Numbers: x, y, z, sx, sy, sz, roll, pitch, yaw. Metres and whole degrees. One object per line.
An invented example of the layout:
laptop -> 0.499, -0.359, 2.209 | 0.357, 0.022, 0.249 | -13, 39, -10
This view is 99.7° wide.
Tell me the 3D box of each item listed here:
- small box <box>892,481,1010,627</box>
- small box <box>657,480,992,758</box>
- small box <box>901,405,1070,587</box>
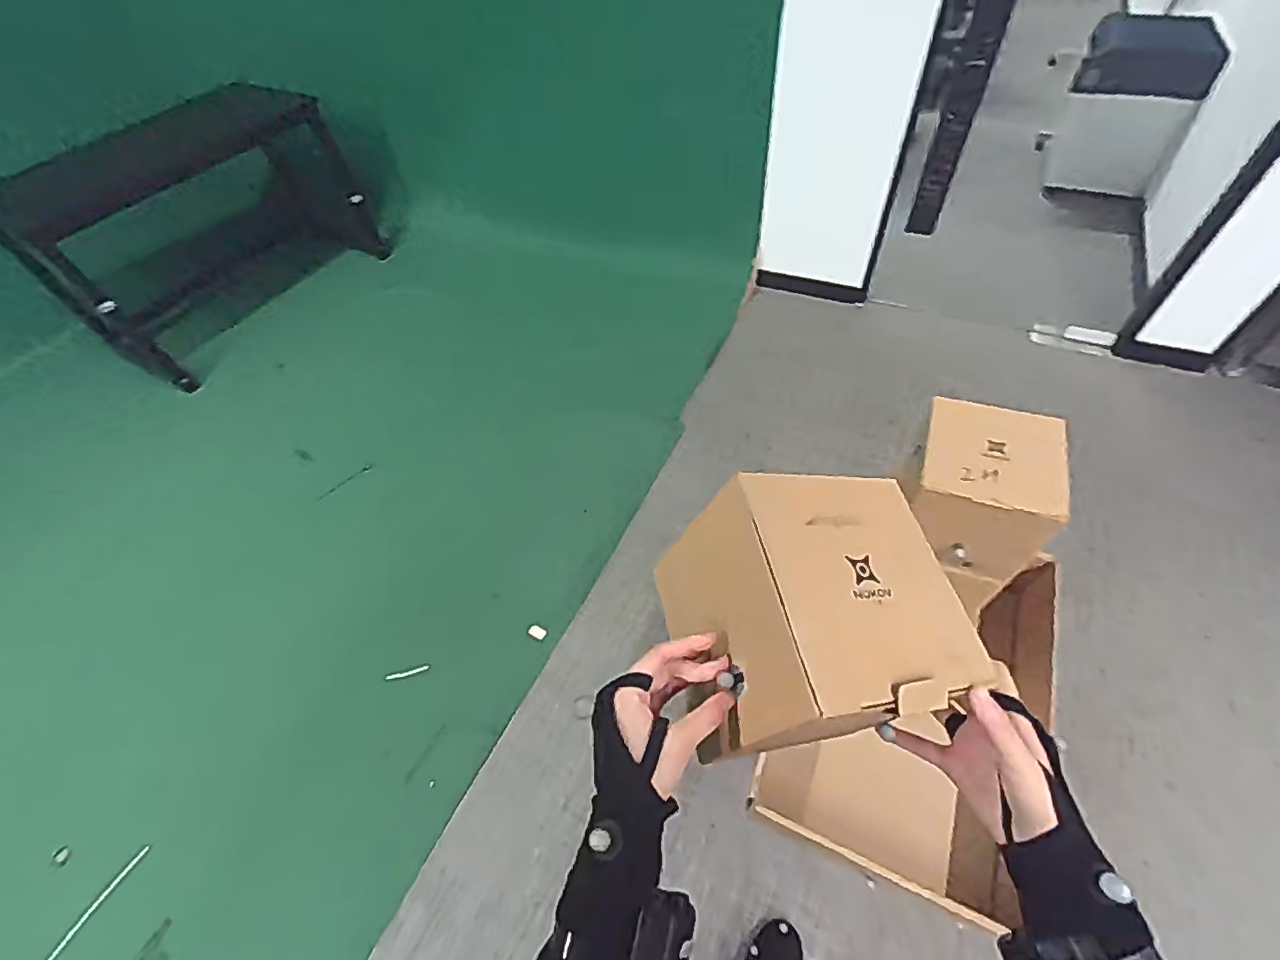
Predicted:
small box -> 0.488, 0.131, 0.906 | 0.179, 0.176, 0.168 | 13, 55, 18
small box -> 0.130, 0.120, 0.453 | 0.168, 0.176, 0.179 | 3, 54, -23
small box -> 0.482, 0.024, 0.780 | 0.168, 0.176, 0.179 | 15, 56, 19
